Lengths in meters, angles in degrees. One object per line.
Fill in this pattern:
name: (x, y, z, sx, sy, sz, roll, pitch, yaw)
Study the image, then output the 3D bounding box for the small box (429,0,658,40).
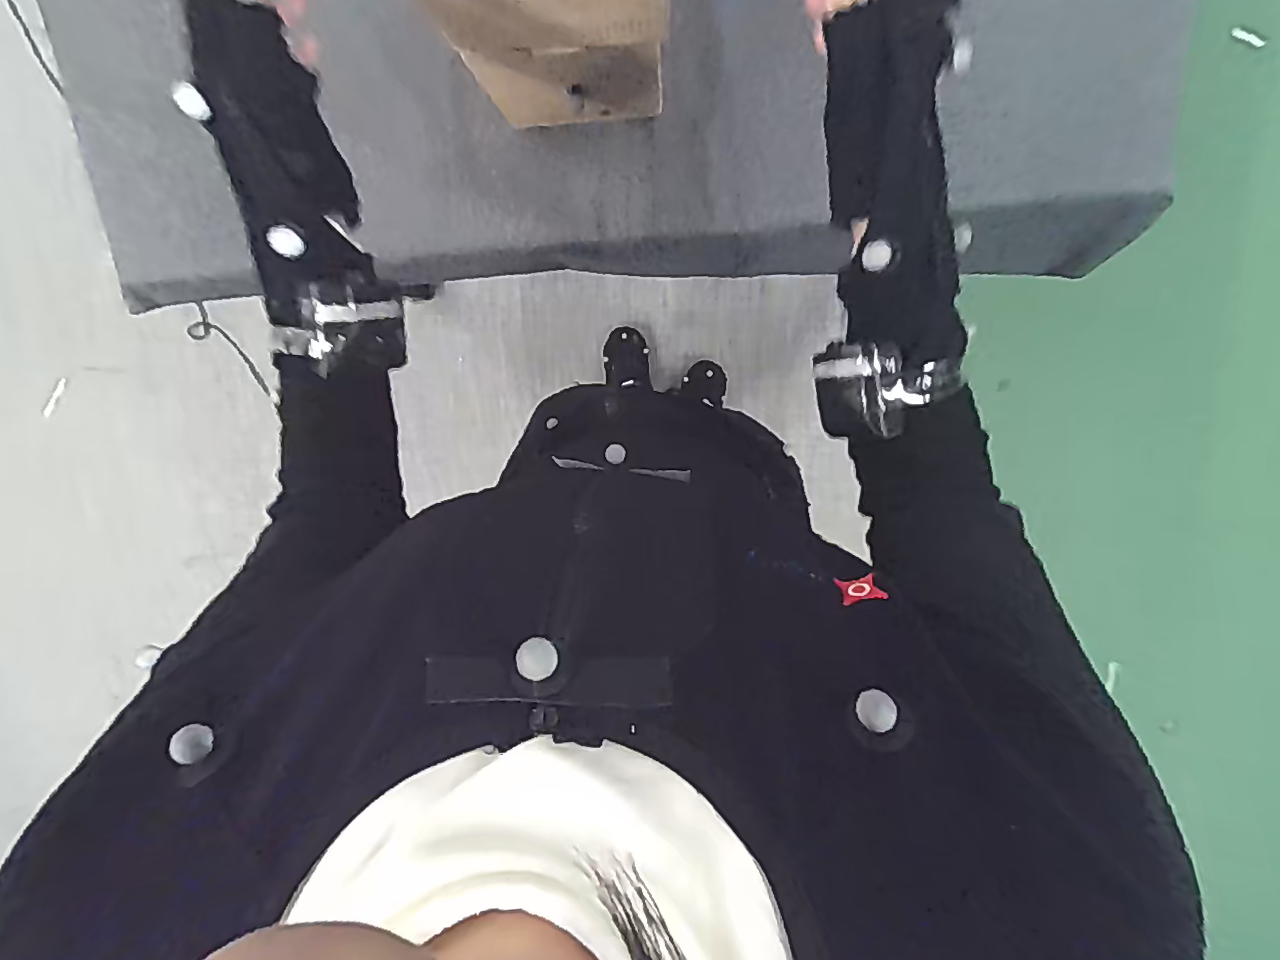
small box: (-0.070, -0.410, 0.332, 0.179, 0.176, 0.168, 0, 105, 6)

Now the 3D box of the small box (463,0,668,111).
small box: (-0.063, -0.461, 0.489, 0.168, 0.176, 0.179, -3, 106, 6)
